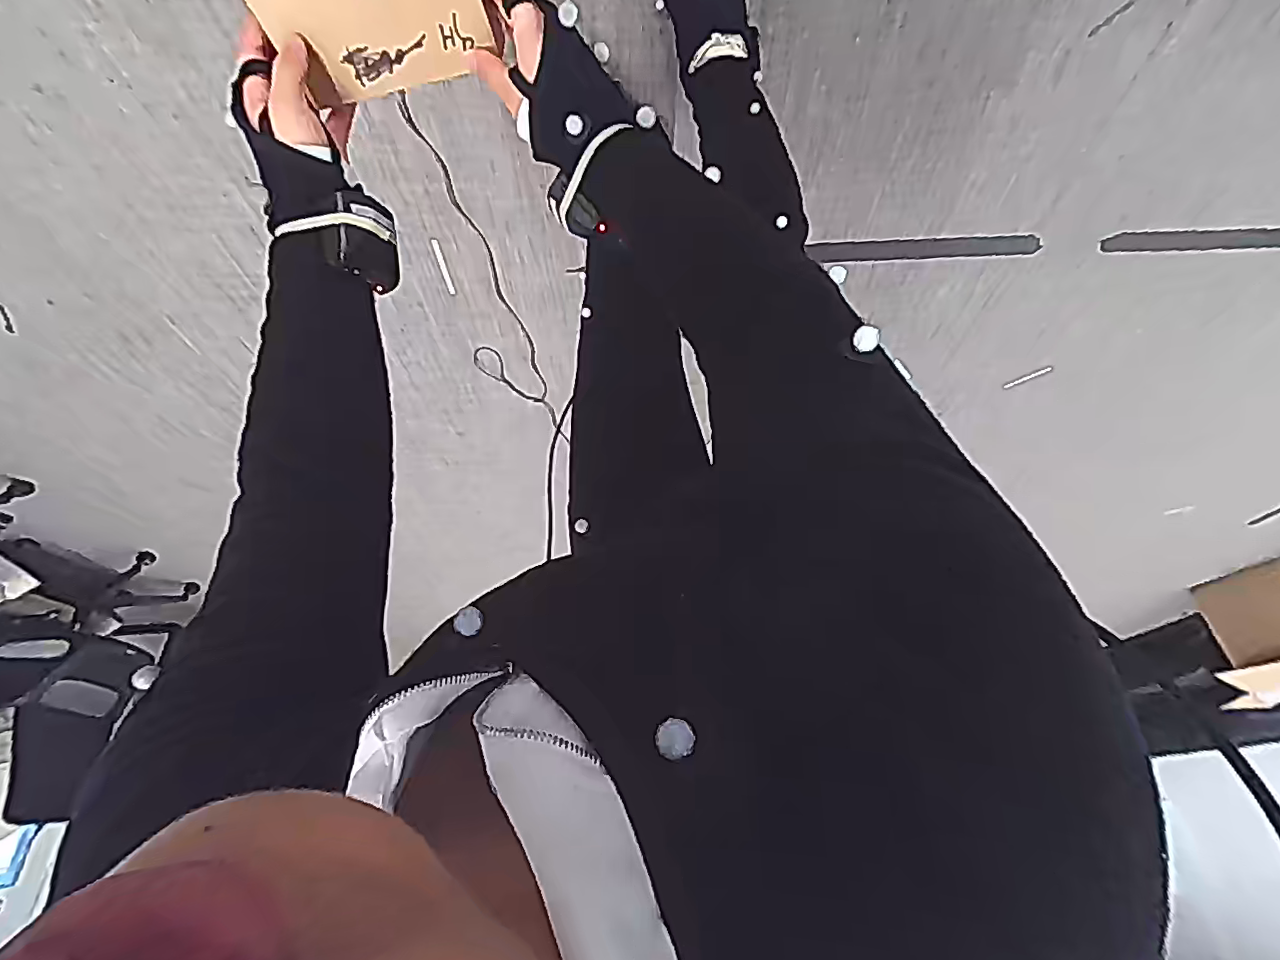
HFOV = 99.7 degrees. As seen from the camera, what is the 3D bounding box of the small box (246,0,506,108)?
[{"bbox_3d":[-0.212,-0.431,0.411,0.168,0.176,0.179,-9,148,6],"label":"small box"}]
